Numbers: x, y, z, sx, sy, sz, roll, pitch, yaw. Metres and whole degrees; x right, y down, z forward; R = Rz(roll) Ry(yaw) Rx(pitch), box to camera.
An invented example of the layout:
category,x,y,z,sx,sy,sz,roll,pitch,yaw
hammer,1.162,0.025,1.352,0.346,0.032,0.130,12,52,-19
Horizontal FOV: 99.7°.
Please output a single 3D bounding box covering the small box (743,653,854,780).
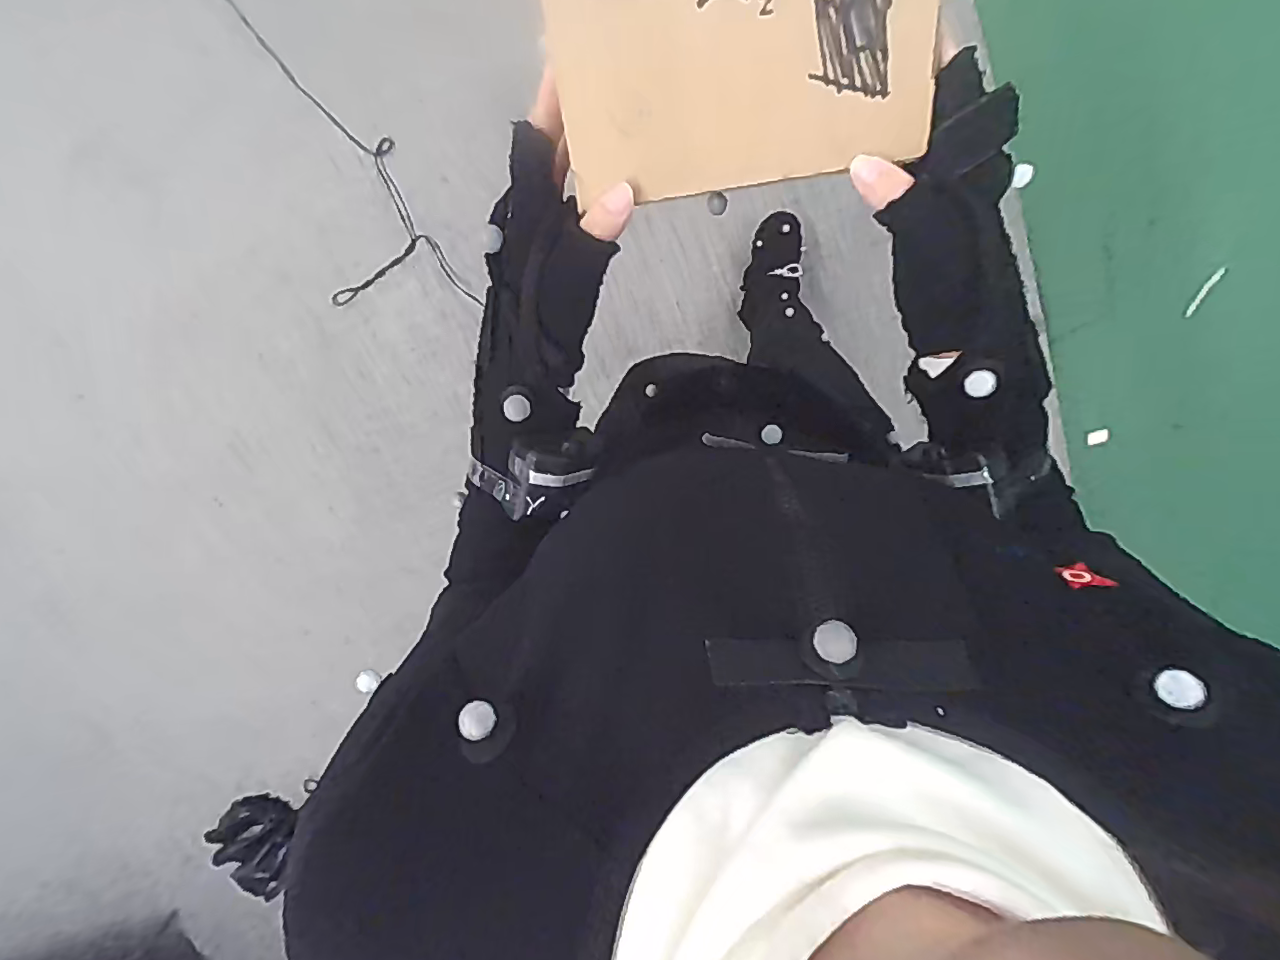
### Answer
category,x,y,z,sx,sy,sz,roll,pitch,yaw
small box,0.337,0.507,1.180,0.179,0.176,0.168,-20,103,11
